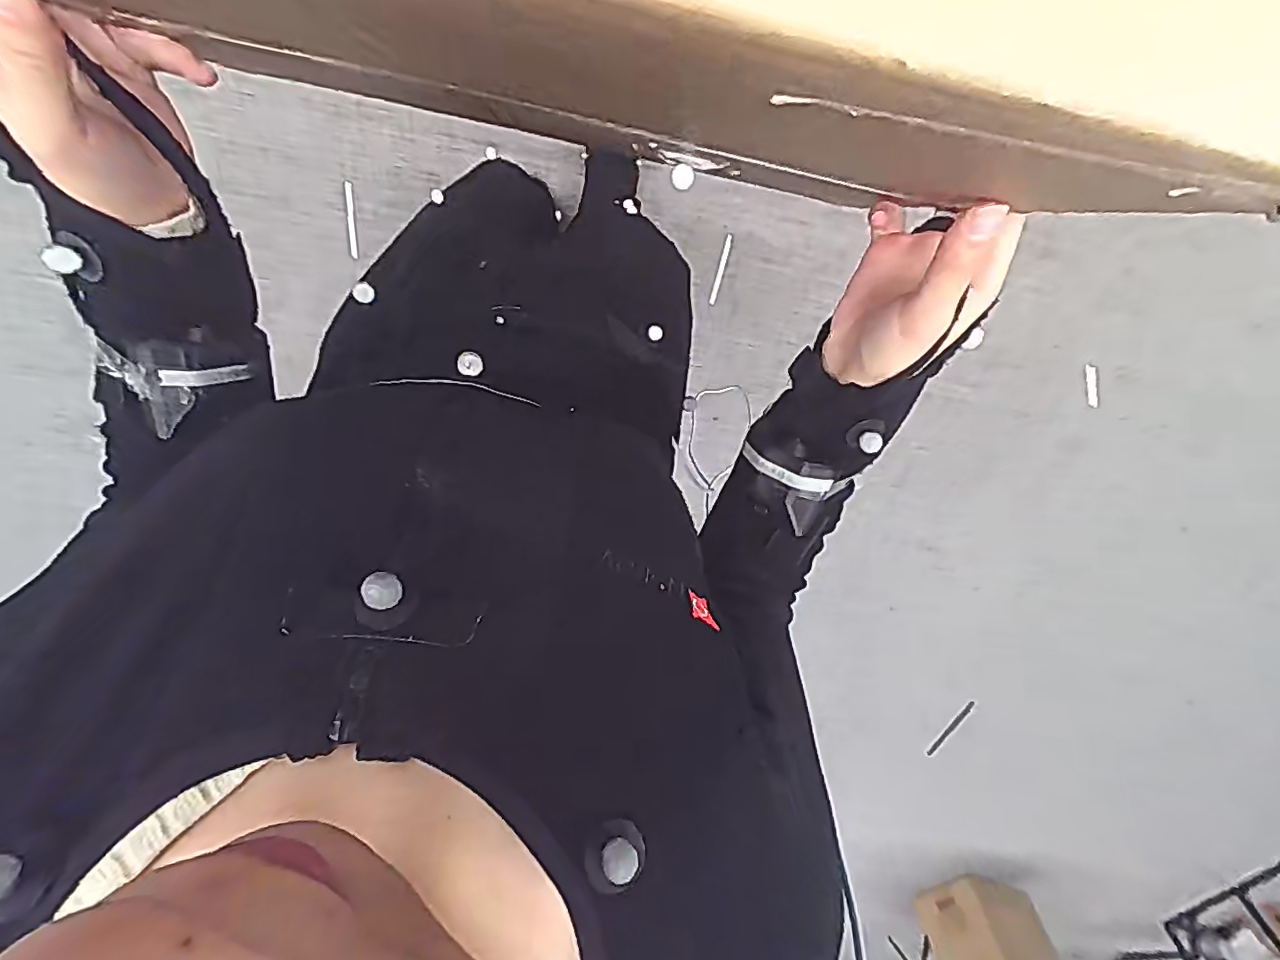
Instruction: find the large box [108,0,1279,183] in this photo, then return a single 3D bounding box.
[{"bbox_3d":[-0.009,-0.300,0.151,0.408,0.320,0.320,7,118,-8],"label":"large box"}]
